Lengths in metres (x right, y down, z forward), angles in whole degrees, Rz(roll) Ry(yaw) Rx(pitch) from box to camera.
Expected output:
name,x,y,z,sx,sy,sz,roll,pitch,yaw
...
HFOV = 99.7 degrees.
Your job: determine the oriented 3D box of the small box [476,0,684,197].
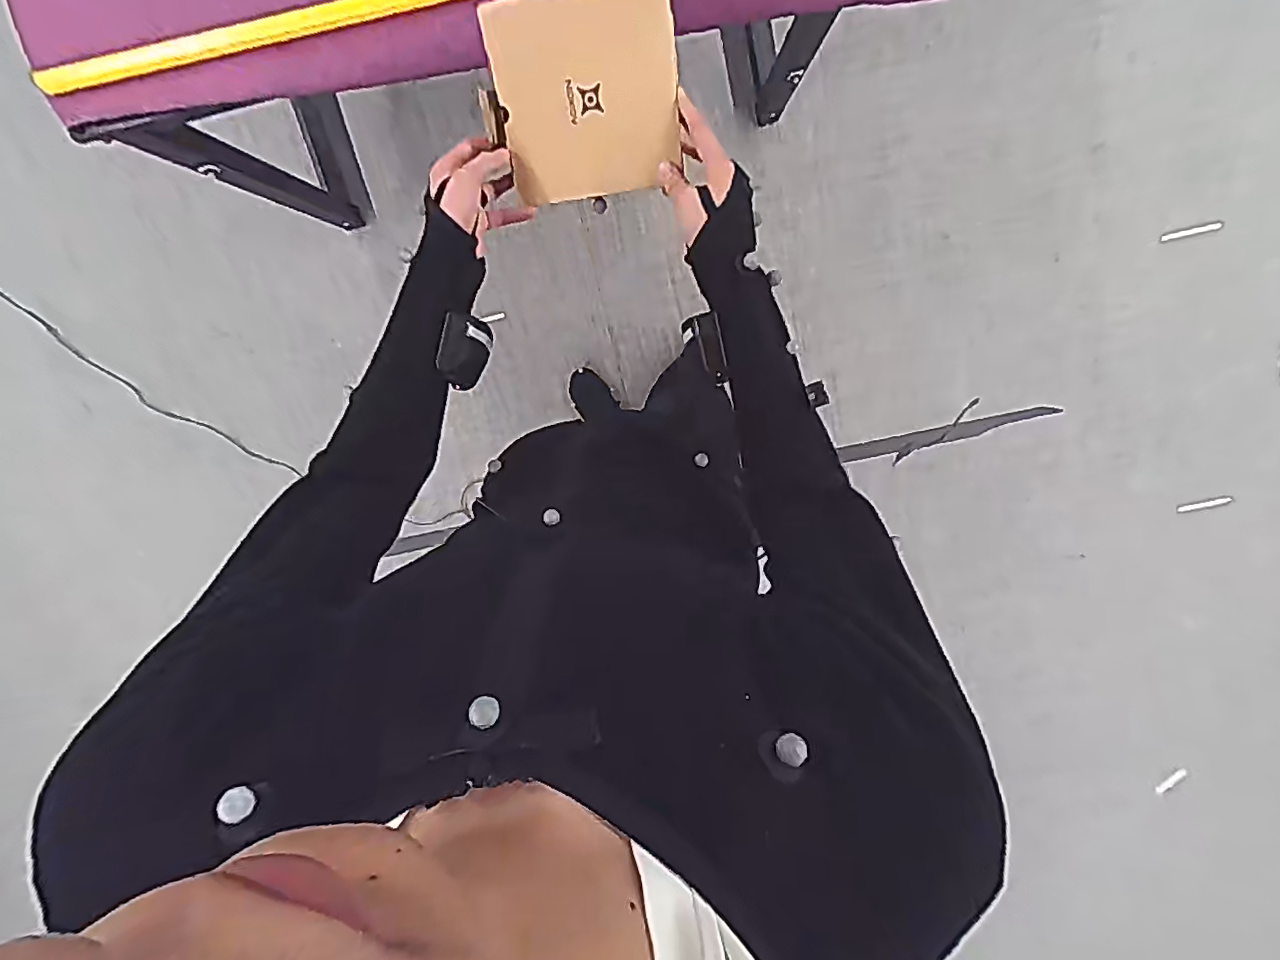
name,x,y,z,sx,sy,sz,roll,pitch,yaw
small box,-0.046,-0.409,0.577,0.179,0.176,0.168,-3,120,9
